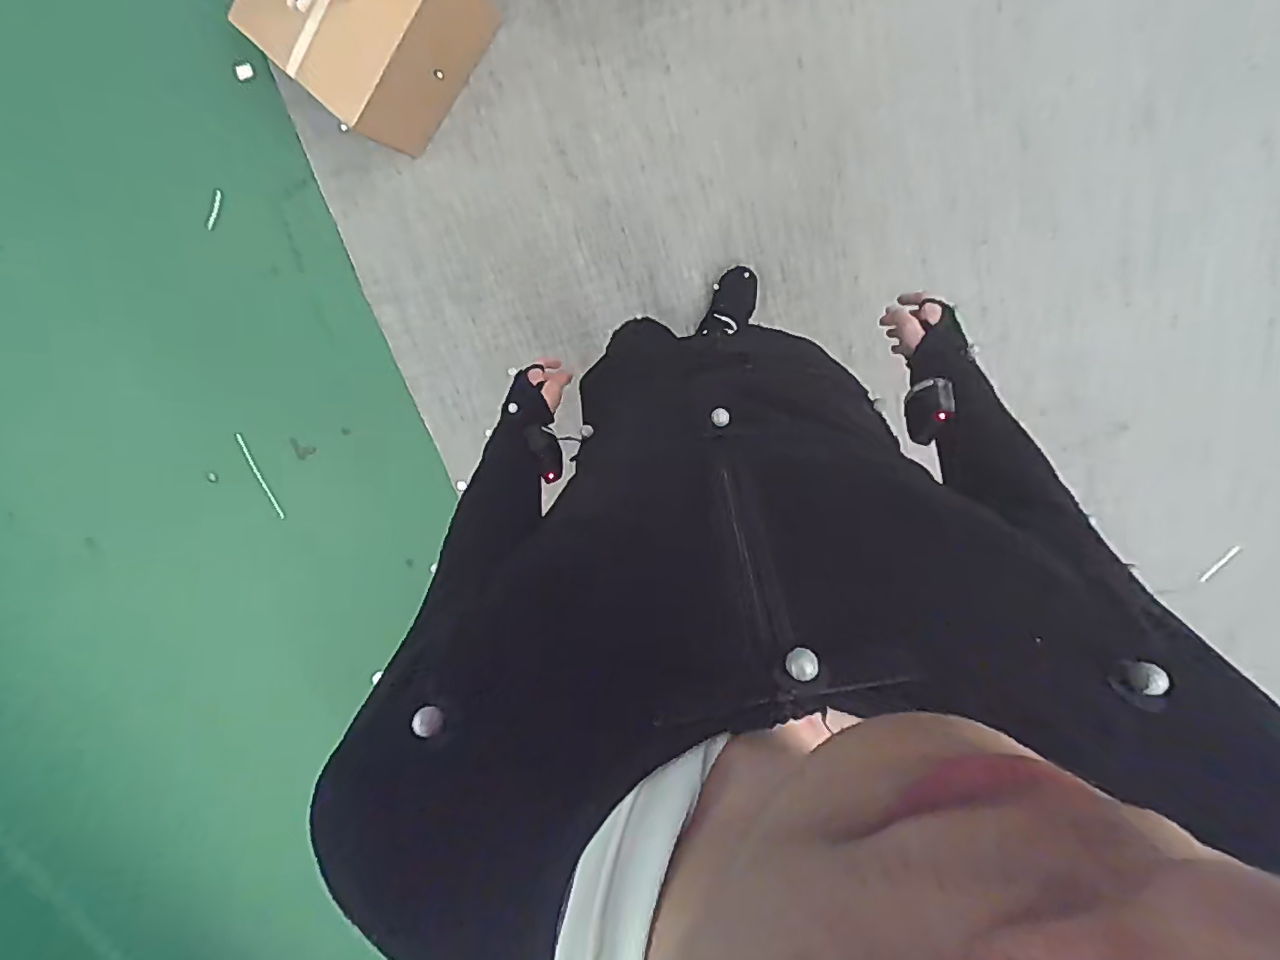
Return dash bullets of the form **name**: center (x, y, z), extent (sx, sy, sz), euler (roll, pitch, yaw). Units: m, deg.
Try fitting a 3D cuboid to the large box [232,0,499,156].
- **large box**: center (-0.587, -1.034, 1.209), extent (0.320, 0.320, 0.408), euler (41, 110, -8)
